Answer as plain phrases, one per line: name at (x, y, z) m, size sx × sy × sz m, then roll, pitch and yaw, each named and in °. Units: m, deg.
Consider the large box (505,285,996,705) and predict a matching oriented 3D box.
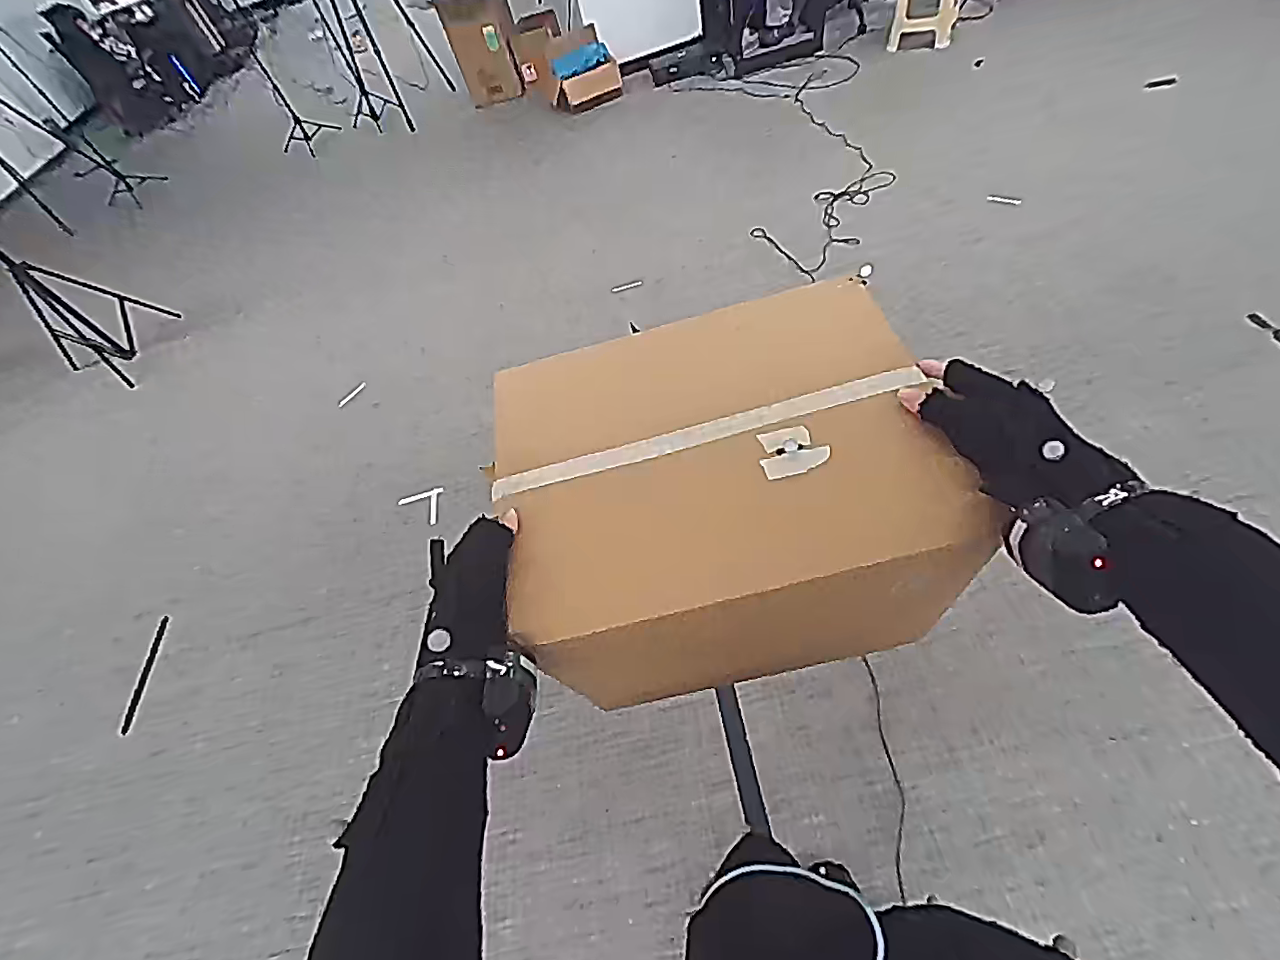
large box at (0.092, 0.038, 0.641) m, size 0.408 × 0.320 × 0.320 m, roll -15°, pitch 57°, yaw 3°
